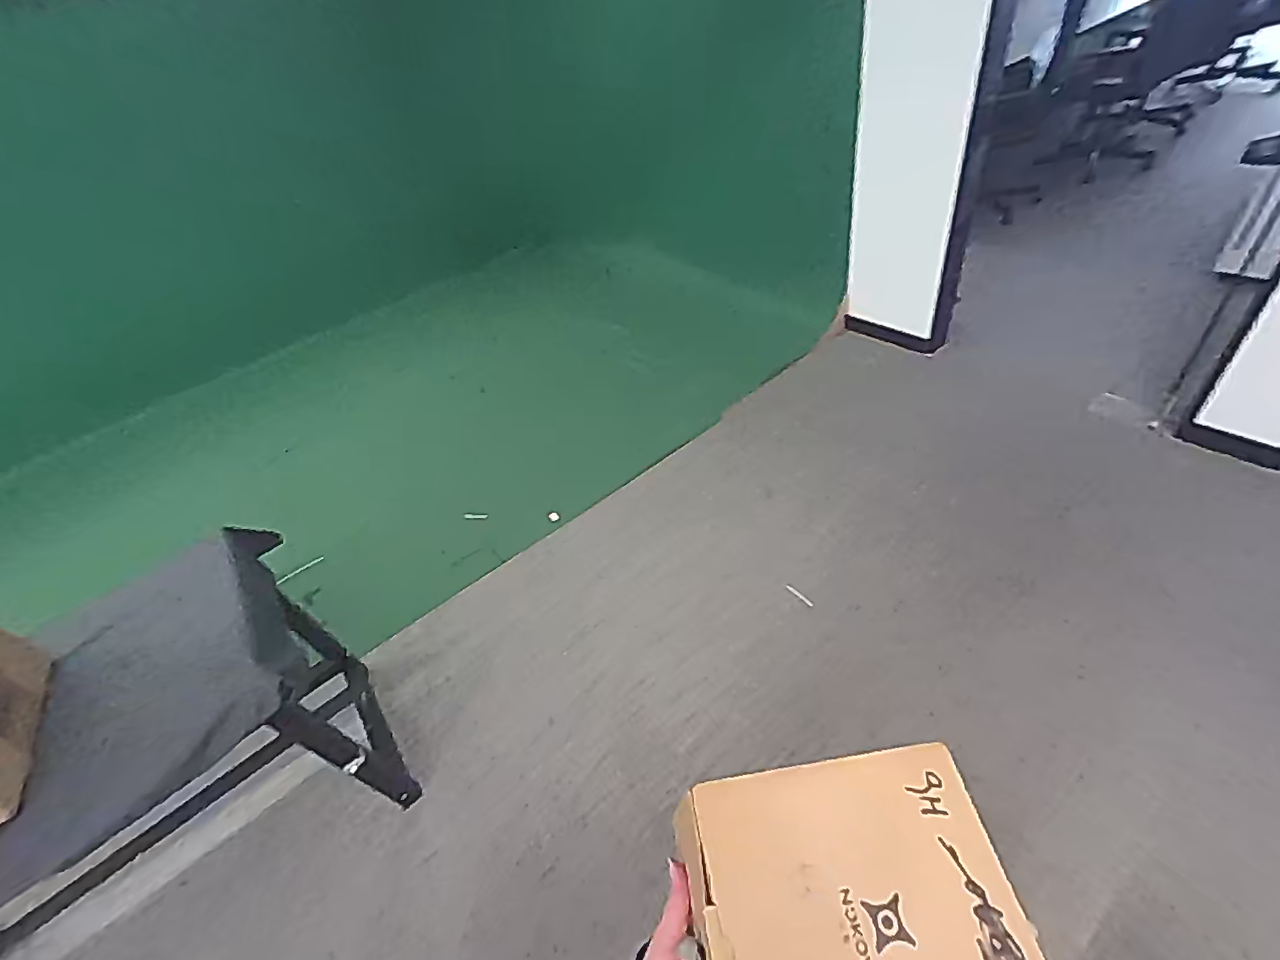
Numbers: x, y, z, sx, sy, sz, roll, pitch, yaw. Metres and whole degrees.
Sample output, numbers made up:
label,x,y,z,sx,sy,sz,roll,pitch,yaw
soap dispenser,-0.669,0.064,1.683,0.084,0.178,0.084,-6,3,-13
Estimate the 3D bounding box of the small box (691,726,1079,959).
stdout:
label,x,y,z,sx,sy,sz,roll,pitch,yaw
small box,0.133,0.281,0.350,0.179,0.176,0.168,-7,51,-6
